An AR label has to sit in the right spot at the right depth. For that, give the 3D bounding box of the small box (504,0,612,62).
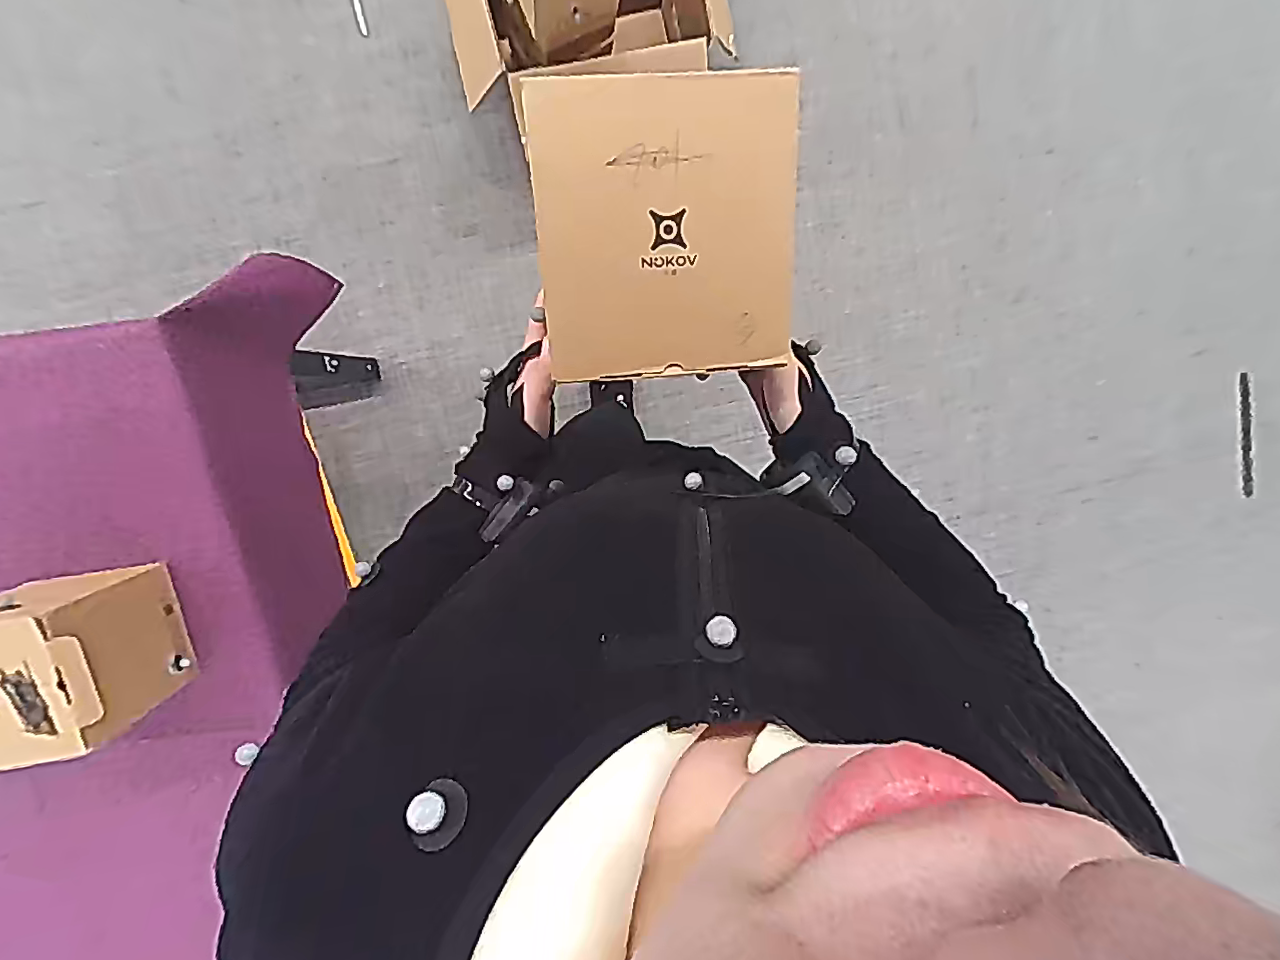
[{"bbox_3d":[-0.163,-0.951,1.048,0.179,0.176,0.168,-34,105,-2],"label":"small box"}]

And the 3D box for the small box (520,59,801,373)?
[{"bbox_3d":[0.009,-0.184,0.411,0.168,0.176,0.179,-5,109,-5],"label":"small box"}]

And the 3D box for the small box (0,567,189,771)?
[{"bbox_3d":[-0.689,0.214,0.642,0.179,0.176,0.168,-9,100,-2],"label":"small box"}]
